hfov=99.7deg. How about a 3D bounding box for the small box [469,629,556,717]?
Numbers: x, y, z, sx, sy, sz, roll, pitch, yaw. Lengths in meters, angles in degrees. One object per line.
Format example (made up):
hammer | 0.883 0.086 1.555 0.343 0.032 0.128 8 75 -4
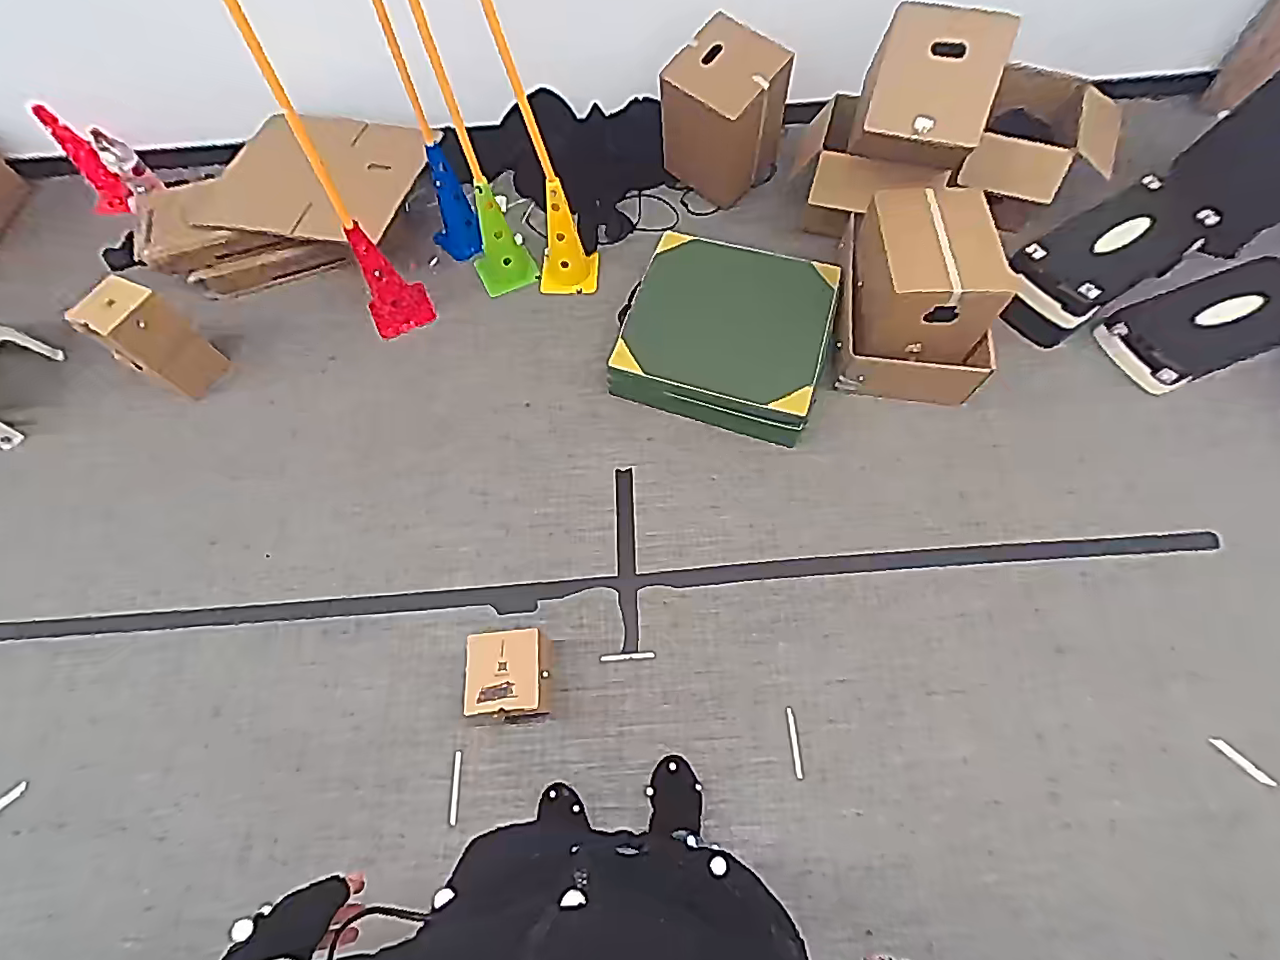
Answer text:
small box | -0.297 0.466 1.291 0.168 0.176 0.179 -5 63 0
